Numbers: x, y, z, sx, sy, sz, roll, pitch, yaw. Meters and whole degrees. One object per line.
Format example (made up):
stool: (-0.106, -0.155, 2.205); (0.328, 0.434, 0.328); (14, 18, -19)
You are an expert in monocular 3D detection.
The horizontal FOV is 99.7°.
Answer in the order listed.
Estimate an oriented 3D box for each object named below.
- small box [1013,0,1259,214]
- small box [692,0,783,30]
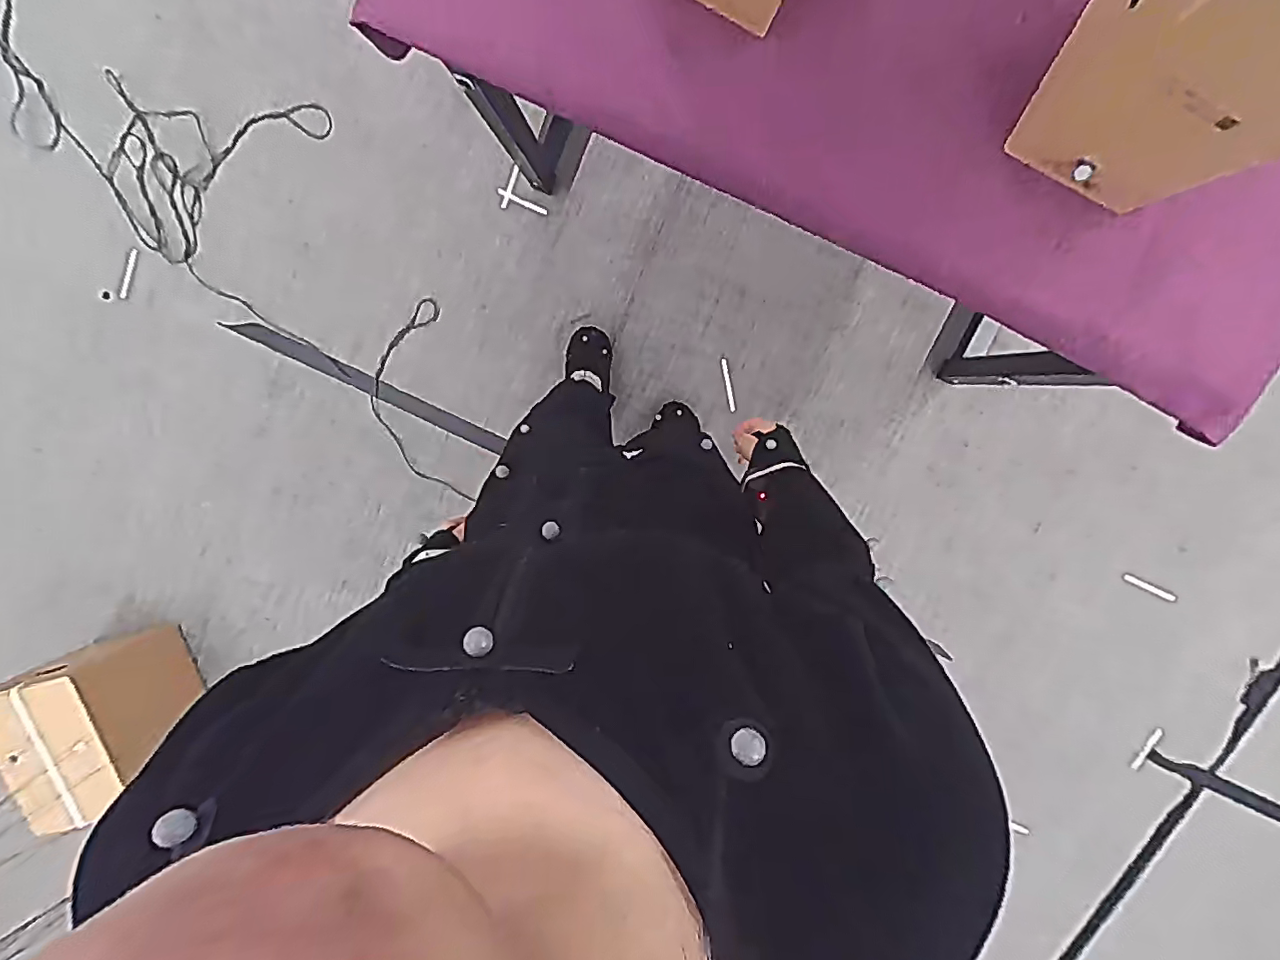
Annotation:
small box: (0.539, -0.413, 0.555); (0.168, 0.176, 0.179); (27, 101, -2)
small box: (0.105, -0.611, 0.541); (0.179, 0.176, 0.168); (28, 100, -2)
